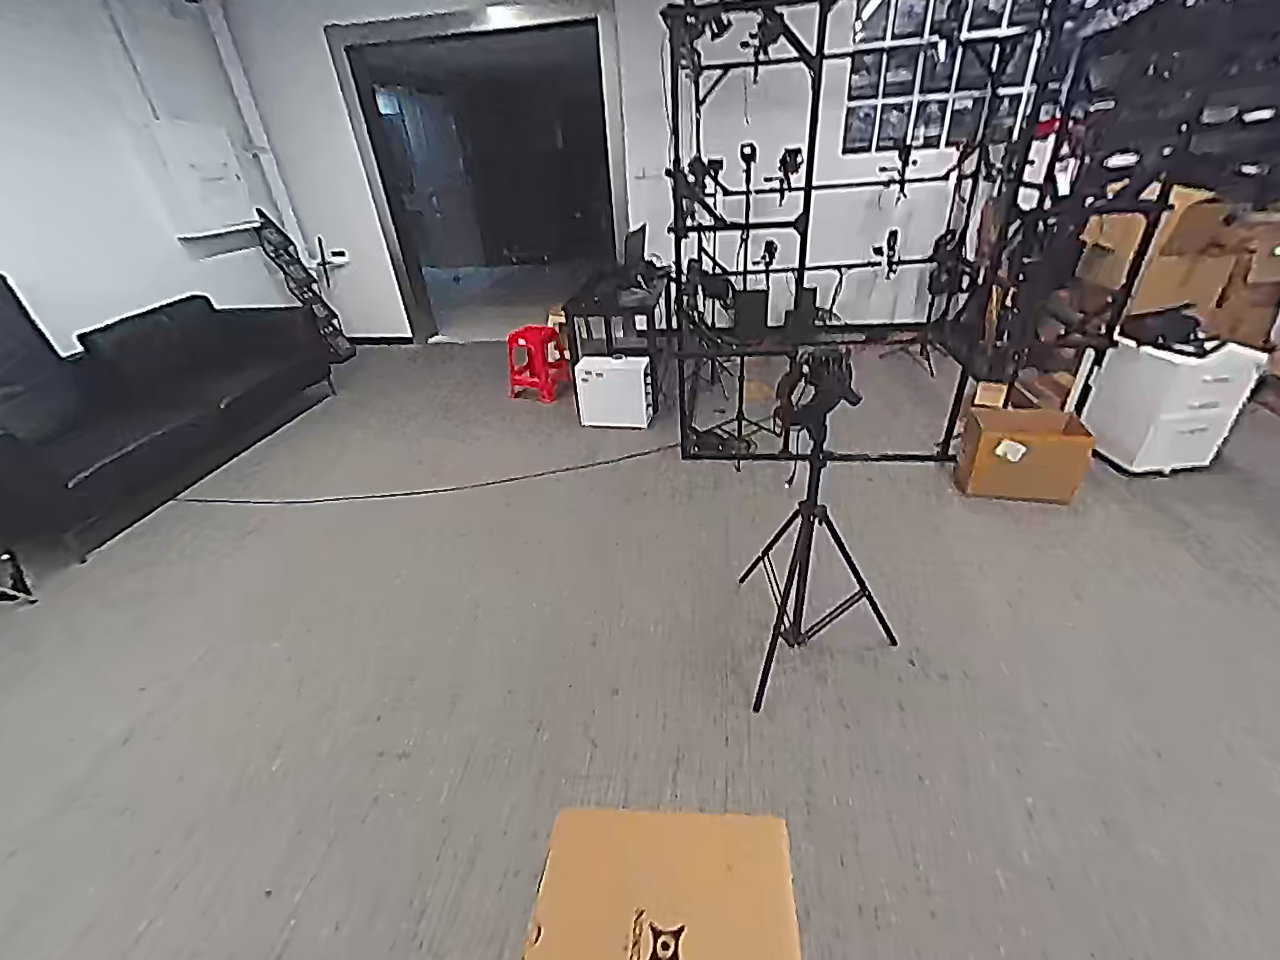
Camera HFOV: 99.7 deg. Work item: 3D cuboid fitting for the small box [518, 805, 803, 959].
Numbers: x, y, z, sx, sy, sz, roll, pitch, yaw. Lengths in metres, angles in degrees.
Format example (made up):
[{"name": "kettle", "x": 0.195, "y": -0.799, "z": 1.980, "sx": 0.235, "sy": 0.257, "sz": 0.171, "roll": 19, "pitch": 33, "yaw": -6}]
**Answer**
[{"name": "small box", "x": 0.020, "y": 0.357, "z": 0.370, "sx": 0.179, "sy": 0.176, "sz": 0.168, "roll": -3, "pitch": 27, "yaw": 9}]
